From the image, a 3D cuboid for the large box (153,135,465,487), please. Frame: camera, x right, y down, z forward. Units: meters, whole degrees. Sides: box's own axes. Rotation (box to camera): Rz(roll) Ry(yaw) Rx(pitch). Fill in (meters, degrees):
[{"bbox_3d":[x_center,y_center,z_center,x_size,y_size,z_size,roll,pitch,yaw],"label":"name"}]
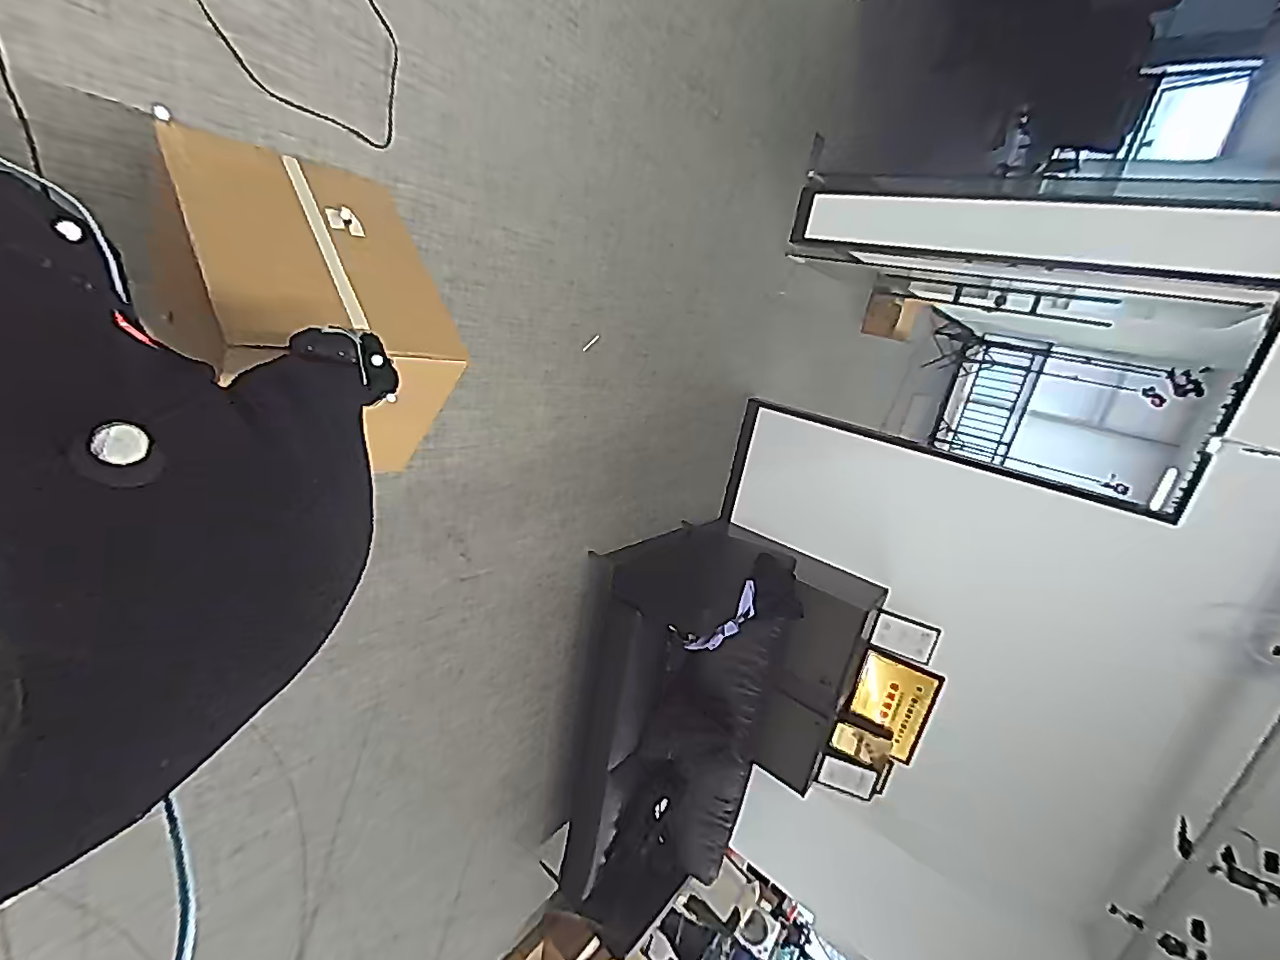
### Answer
[{"bbox_3d":[-0.554,-0.249,0.888,0.320,0.408,0.320,-10,154,-48],"label":"large box"}]
